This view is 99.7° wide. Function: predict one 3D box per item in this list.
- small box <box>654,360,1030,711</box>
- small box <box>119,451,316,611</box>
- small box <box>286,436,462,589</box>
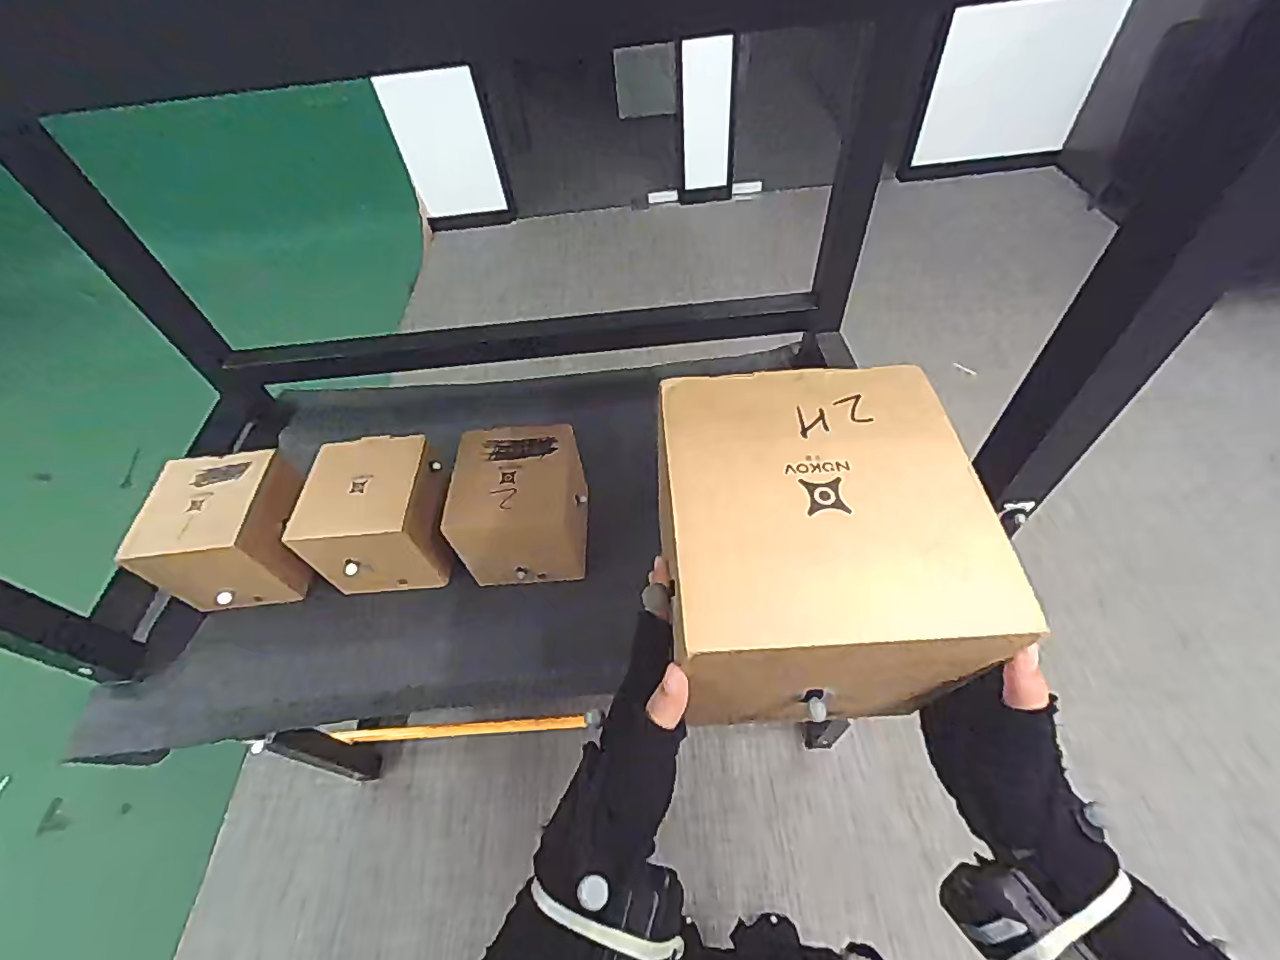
[{"bbox_3d":[0.096,0.046,0.357,0.168,0.176,0.179,-3,54,0],"label":"small box"},{"bbox_3d":[-0.614,0.080,0.832,0.168,0.176,0.179,-7,52,1],"label":"small box"},{"bbox_3d":[-0.388,0.057,0.829,0.168,0.176,0.179,-4,51,2],"label":"small box"}]
